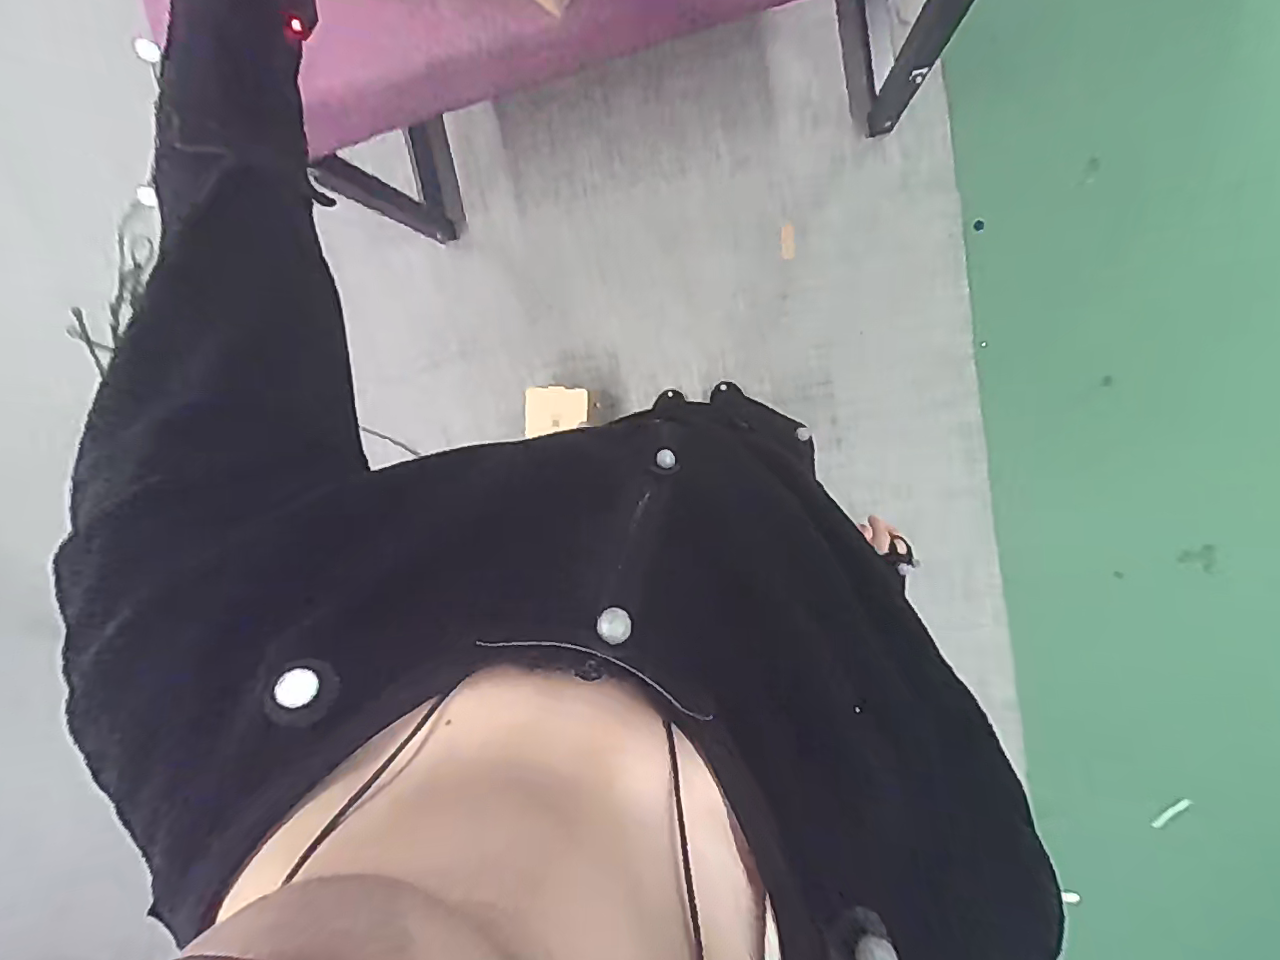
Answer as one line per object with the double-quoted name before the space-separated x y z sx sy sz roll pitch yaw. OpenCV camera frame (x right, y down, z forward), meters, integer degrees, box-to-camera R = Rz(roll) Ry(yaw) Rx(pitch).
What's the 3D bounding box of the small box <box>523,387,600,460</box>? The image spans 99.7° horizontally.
"small box" -0.206 -0.157 1.452 0.168 0.176 0.179 5 102 9
